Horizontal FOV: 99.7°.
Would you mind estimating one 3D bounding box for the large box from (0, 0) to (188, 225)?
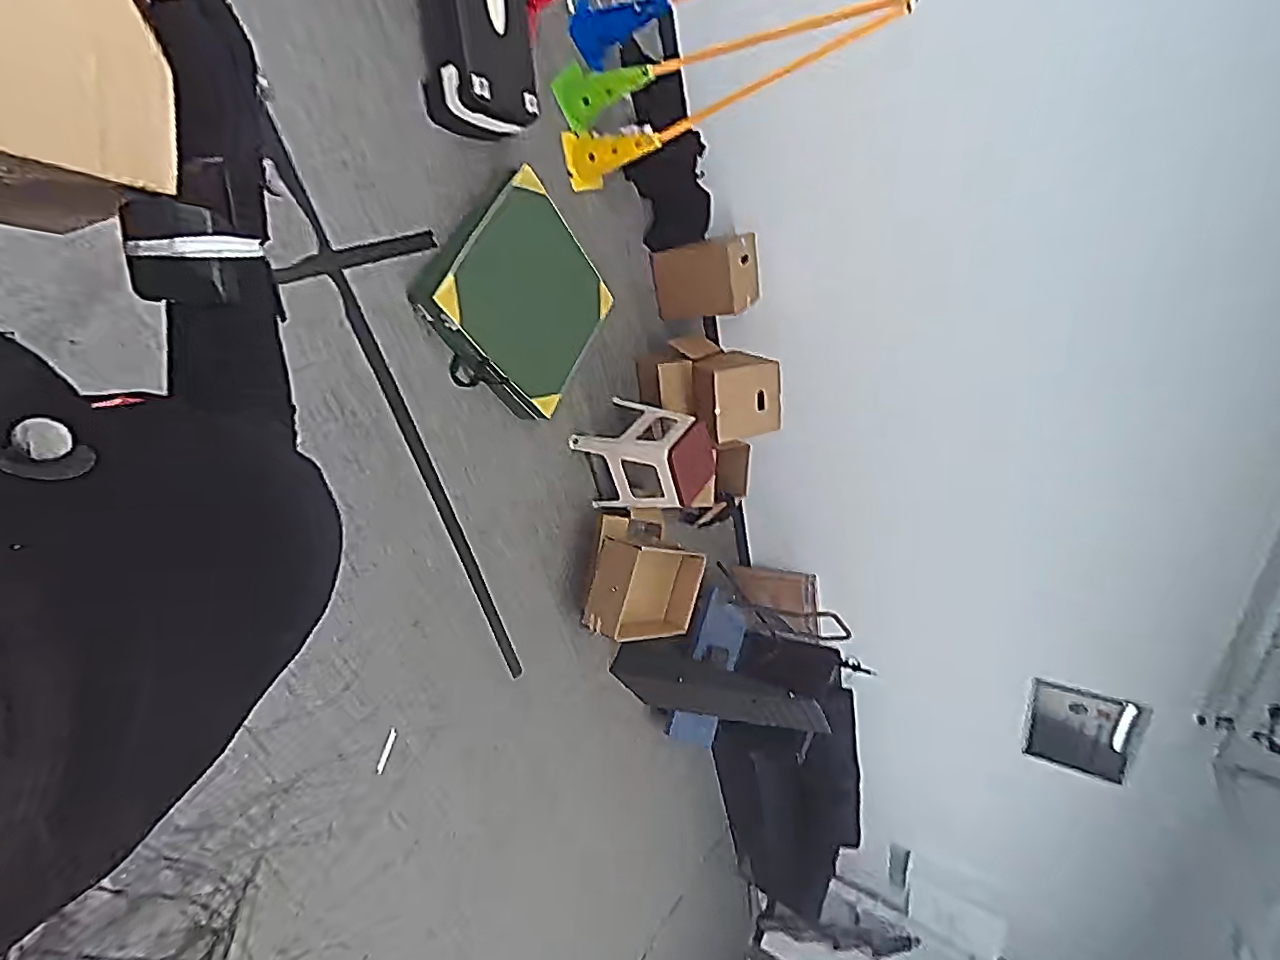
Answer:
[{"bbox_3d":[-0.532,-0.353,0.263,0.408,0.320,0.320,-8,107,-56],"label":"large box"}]
